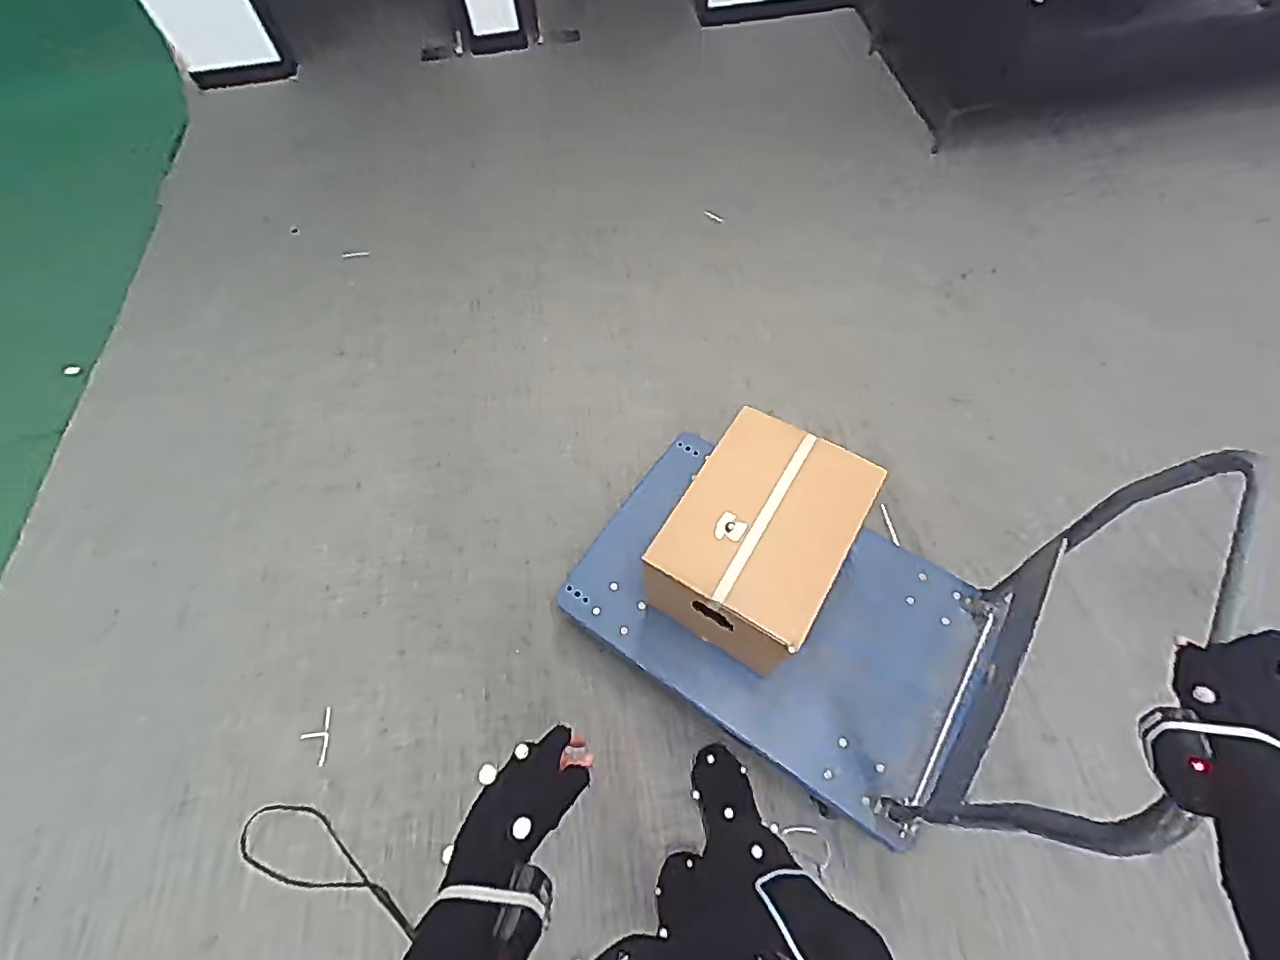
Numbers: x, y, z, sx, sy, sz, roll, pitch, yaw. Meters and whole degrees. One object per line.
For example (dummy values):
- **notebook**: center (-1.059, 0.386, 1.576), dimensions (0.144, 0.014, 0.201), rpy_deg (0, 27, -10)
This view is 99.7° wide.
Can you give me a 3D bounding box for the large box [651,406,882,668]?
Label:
- **large box**: center (0.256, 0.127, 1.158), dimensions (0.320, 0.320, 0.408), rpy_deg (27, 68, 17)
